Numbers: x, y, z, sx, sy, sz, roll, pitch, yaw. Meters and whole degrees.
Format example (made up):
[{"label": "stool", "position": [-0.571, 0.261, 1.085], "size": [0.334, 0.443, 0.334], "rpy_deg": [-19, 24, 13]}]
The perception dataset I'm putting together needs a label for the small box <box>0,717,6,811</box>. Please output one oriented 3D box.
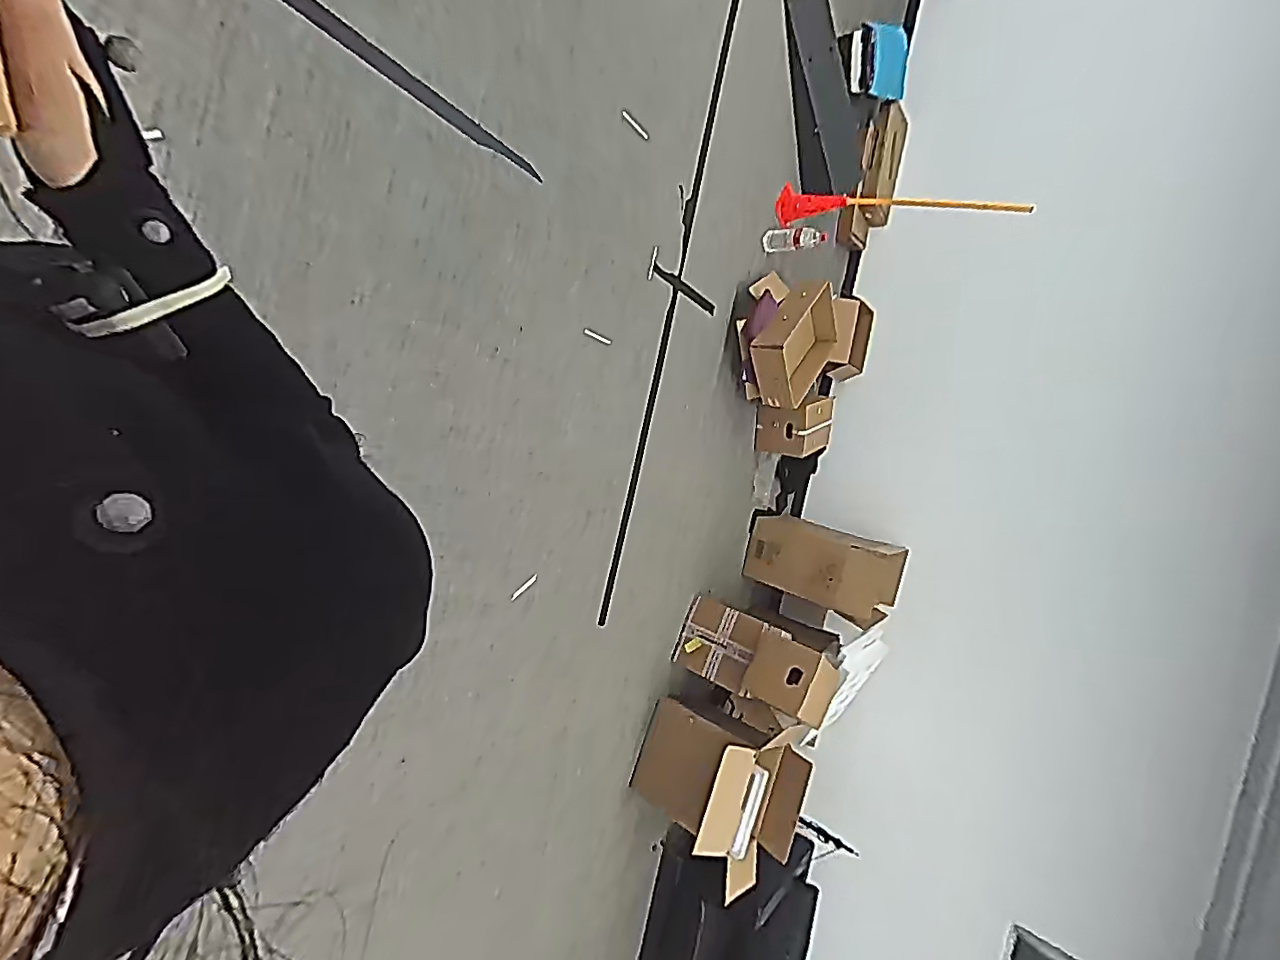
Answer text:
[{"label": "small box", "position": [-1.237, 0.495, 0.932], "size": [0.179, 0.176, 0.168], "rpy_deg": [-1, 101, -53]}]
